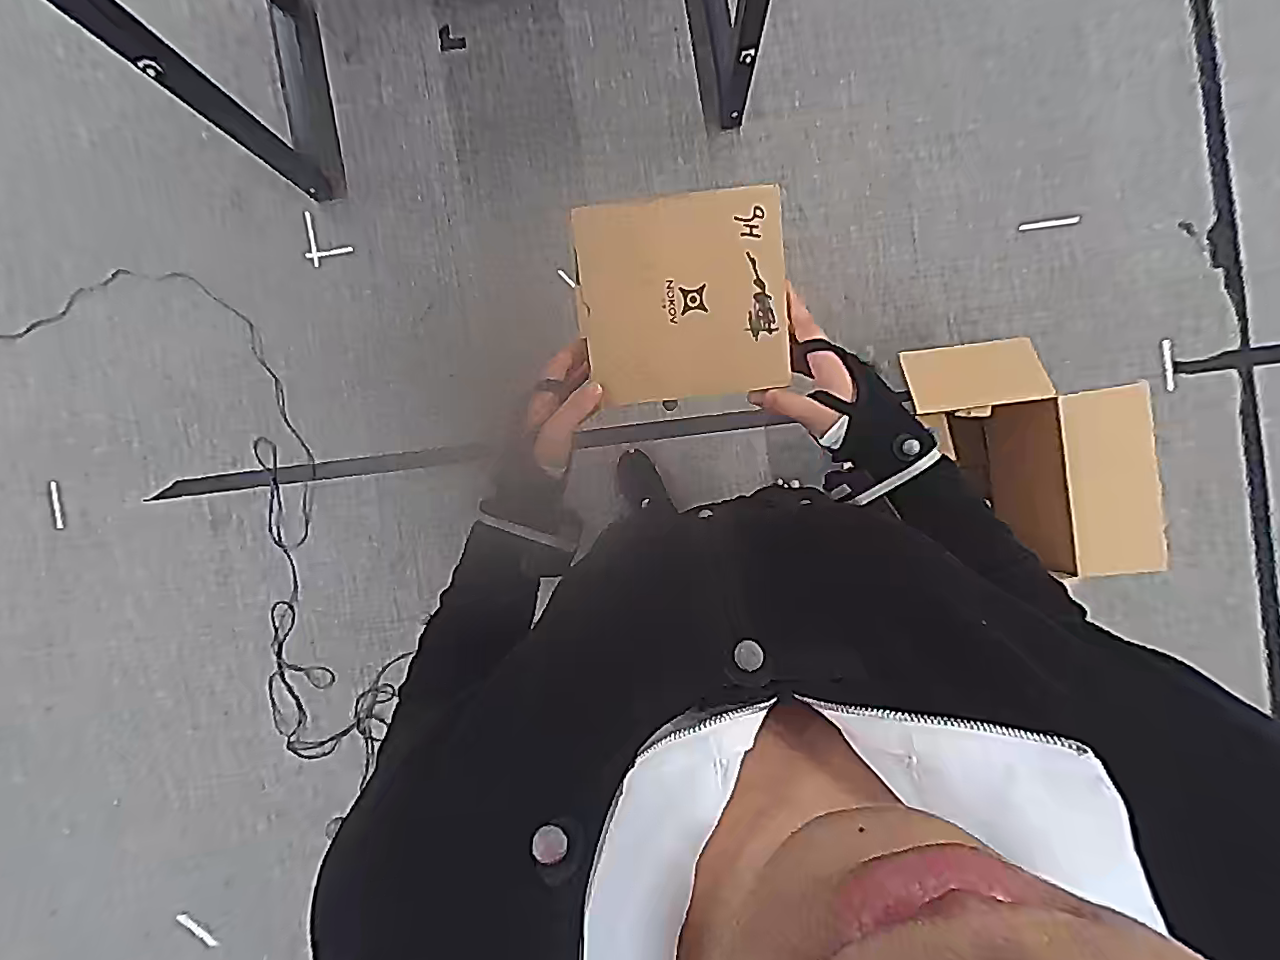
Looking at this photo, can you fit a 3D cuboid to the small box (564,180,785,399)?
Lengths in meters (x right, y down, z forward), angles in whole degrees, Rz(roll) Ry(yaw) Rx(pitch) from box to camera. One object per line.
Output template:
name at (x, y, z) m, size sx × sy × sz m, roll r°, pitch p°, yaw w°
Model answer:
small box at (0.033, -0.169, 0.531) m, size 0.179 × 0.176 × 0.168 m, roll -6°, pitch 101°, yaw 2°
